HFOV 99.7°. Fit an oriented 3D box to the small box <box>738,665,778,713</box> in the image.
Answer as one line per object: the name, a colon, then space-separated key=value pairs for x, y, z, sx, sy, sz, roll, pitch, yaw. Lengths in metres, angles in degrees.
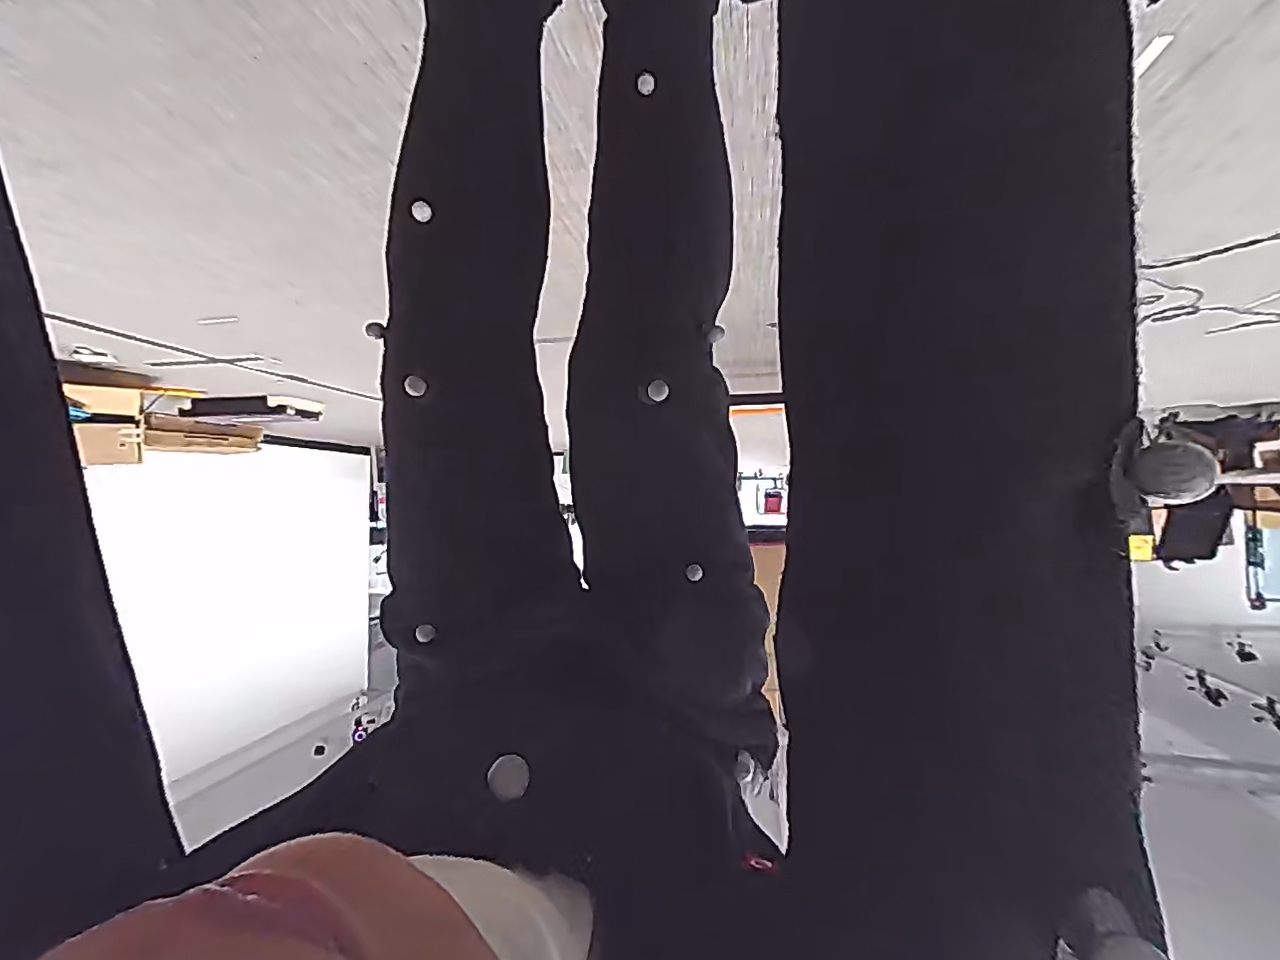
small box: x=0.563 y=0.996 z=2.586 sx=0.179 sy=0.176 sz=0.168 roll=-1 pitch=179 yaw=13
